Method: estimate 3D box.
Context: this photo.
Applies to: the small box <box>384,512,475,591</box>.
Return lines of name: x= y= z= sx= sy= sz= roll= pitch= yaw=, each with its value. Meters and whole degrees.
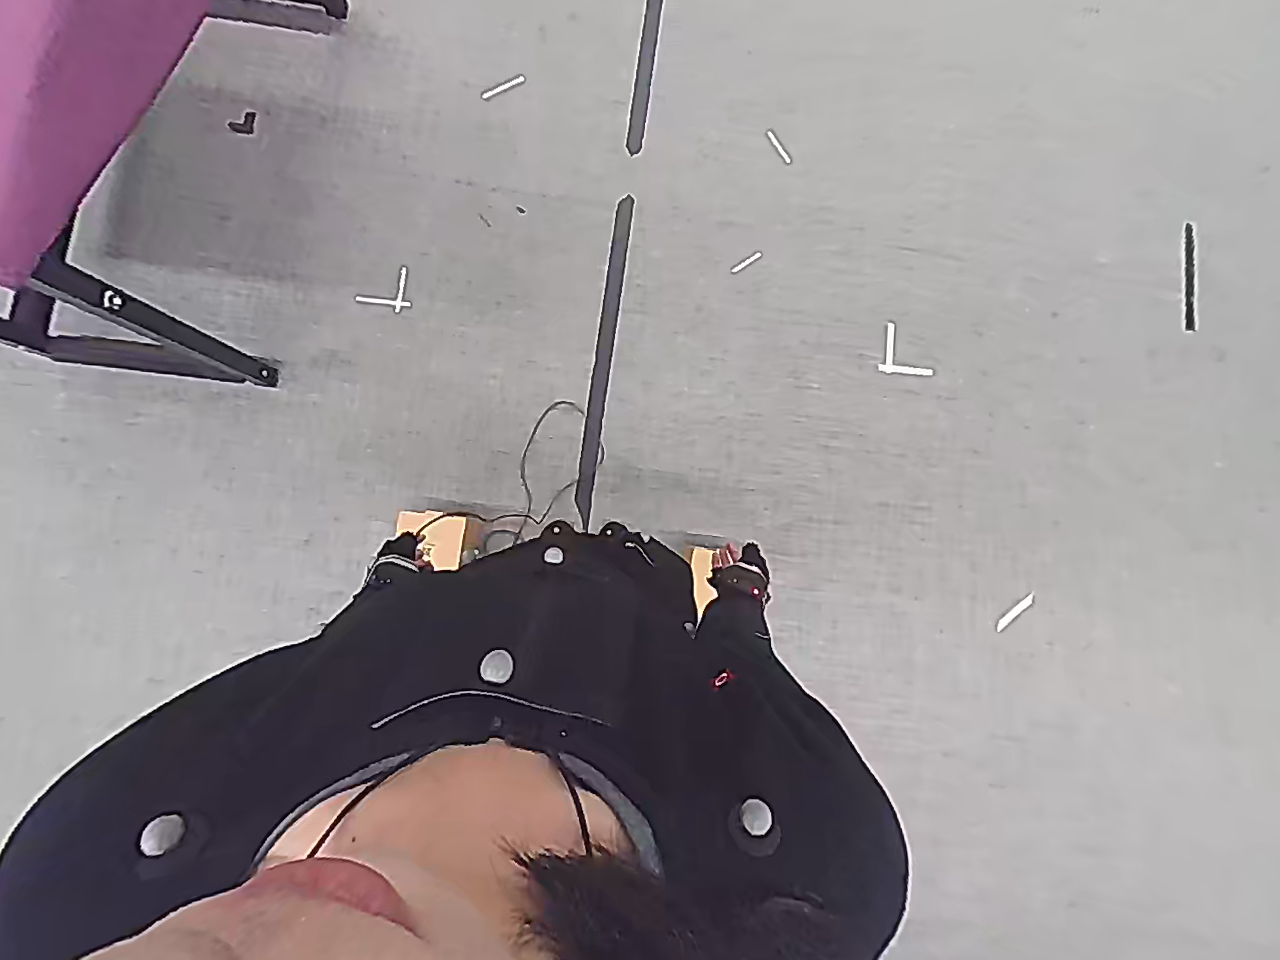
small box: x=-0.533 y=0.187 z=1.397 sx=0.168 sy=0.176 sz=0.179 roll=8 pitch=81 yaw=-4

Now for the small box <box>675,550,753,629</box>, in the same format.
small box: x=0.193 y=0.286 z=1.451 sx=0.168 sy=0.176 sz=0.179 roll=10 pitch=84 yaw=-2
